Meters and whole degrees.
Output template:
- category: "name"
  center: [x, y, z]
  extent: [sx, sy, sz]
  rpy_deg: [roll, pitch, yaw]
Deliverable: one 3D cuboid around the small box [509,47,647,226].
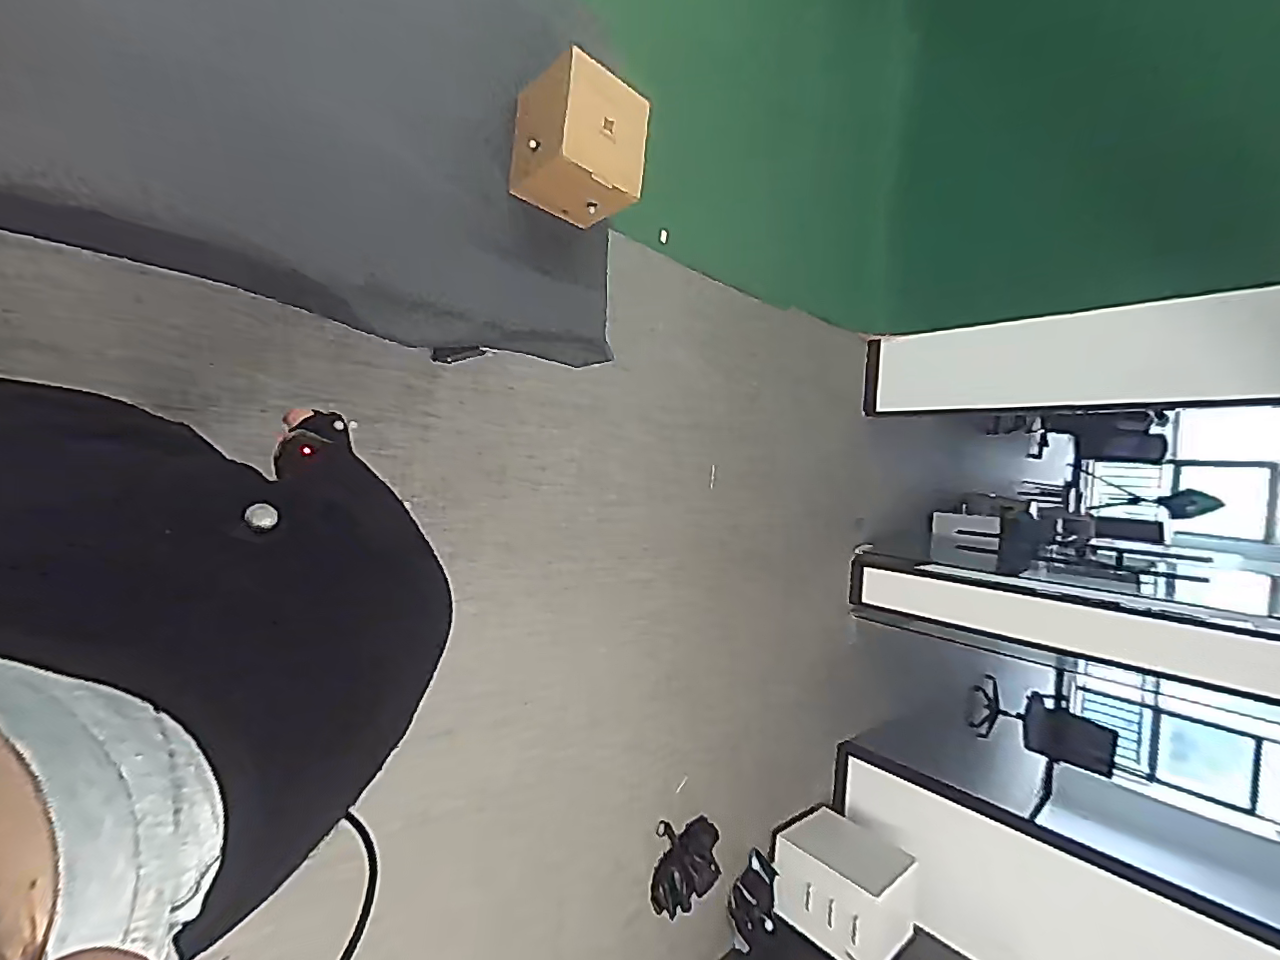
- category: "small box"
  center: [-0.109, -0.567, 0.927]
  extent: [0.168, 0.176, 0.179]
  rpy_deg: [5, 88, -43]
